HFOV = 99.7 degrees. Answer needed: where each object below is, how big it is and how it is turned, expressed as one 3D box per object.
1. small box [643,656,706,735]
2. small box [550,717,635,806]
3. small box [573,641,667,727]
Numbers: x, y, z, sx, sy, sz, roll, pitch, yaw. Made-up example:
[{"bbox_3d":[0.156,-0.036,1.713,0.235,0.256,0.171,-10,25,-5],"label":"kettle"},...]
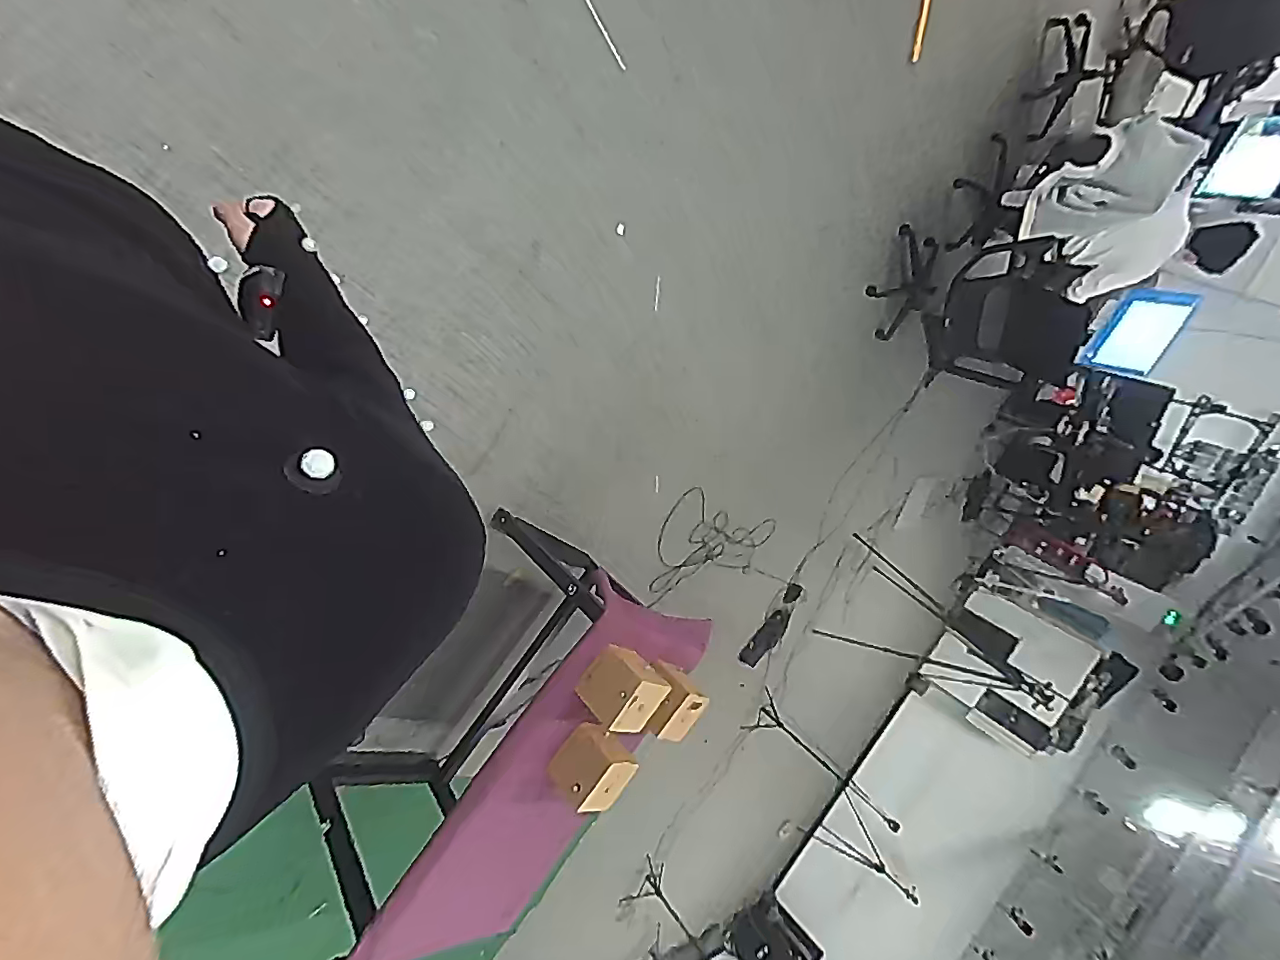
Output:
[{"bbox_3d":[0.081,0.716,1.800,0.179,0.176,0.168,-52,140,-3],"label":"small box"},{"bbox_3d":[-0.154,0.867,1.668,0.179,0.176,0.168,-52,140,-4],"label":"small box"},{"bbox_3d":[-0.059,0.593,1.577,0.168,0.176,0.179,-54,142,-2],"label":"small box"}]
